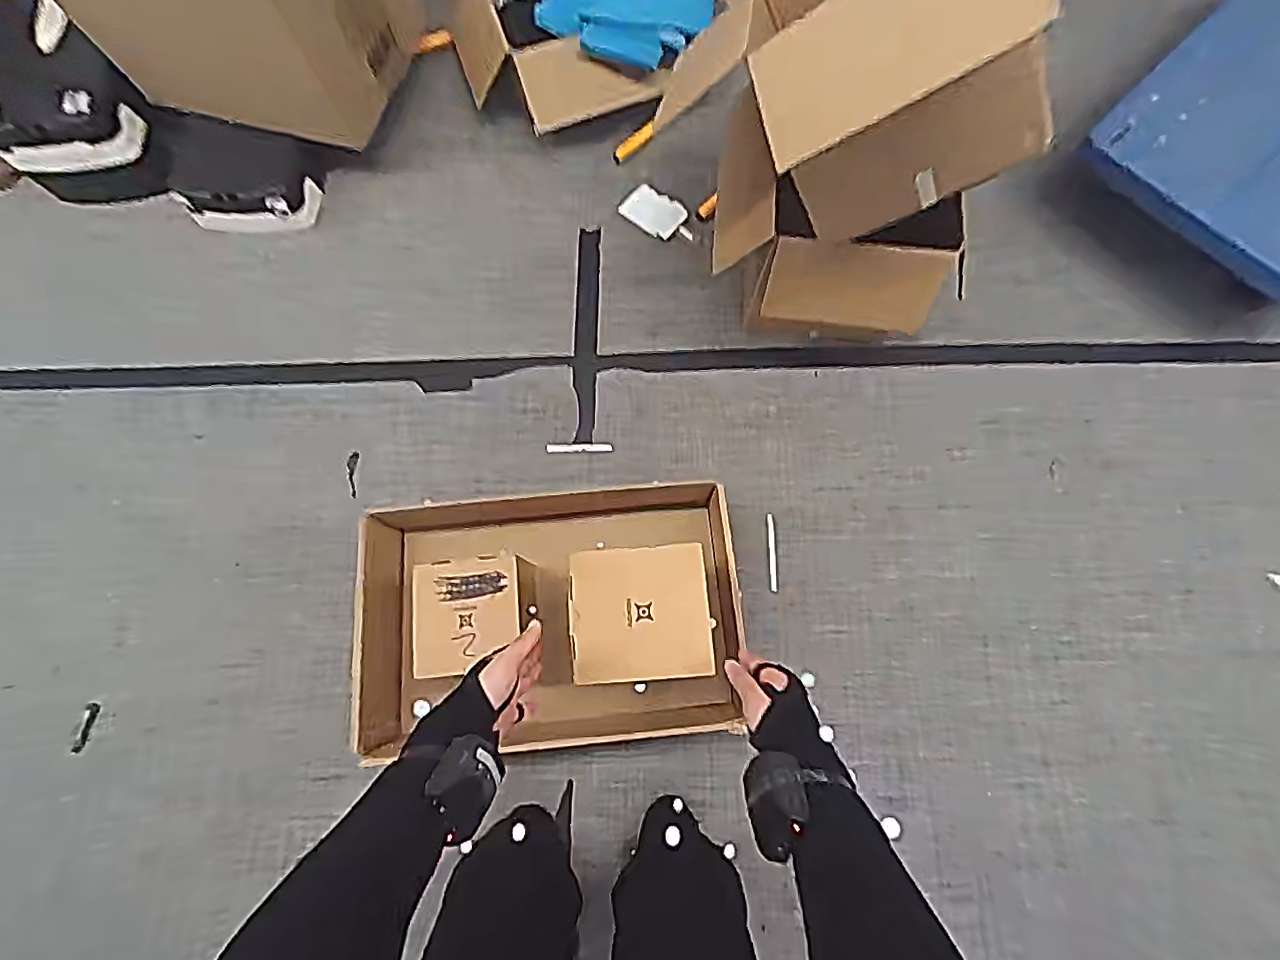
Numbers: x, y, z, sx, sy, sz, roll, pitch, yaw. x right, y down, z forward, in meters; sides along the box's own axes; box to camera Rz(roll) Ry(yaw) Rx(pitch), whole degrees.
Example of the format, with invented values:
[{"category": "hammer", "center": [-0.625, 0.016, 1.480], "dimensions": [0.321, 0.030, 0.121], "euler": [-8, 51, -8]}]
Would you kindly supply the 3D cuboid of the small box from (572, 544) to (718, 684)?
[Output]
[{"category": "small box", "center": [0.005, 0.184, 0.756], "dimensions": [0.179, 0.176, 0.168], "euler": [-5, 76, 1]}]
